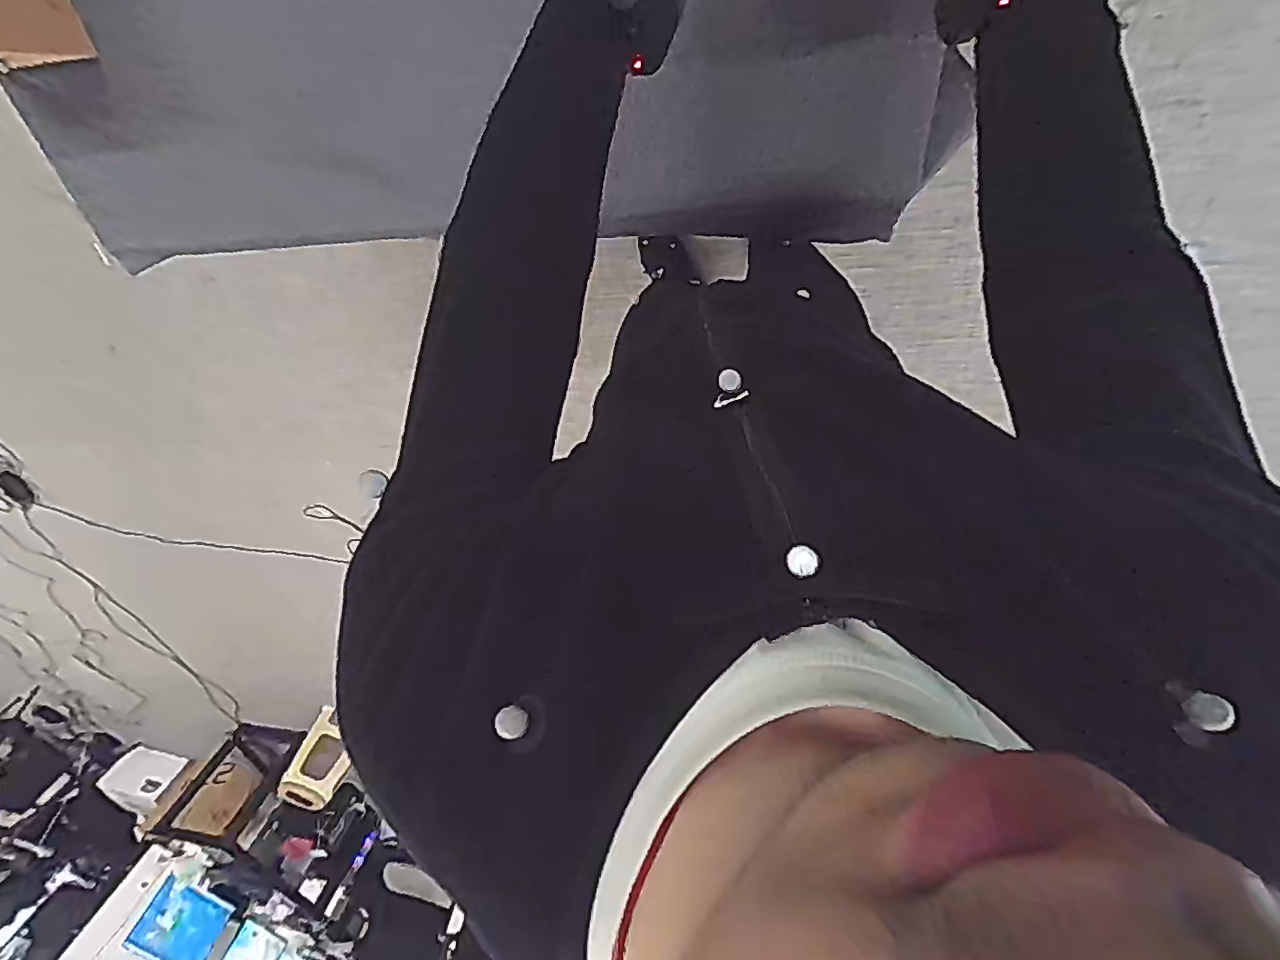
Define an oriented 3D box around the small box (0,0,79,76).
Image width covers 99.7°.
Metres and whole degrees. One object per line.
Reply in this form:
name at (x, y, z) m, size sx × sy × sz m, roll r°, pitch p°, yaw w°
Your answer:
small box at (-0.805, -0.562, 0.606) m, size 0.179 × 0.176 × 0.168 m, roll 4°, pitch 124°, yaw 11°
